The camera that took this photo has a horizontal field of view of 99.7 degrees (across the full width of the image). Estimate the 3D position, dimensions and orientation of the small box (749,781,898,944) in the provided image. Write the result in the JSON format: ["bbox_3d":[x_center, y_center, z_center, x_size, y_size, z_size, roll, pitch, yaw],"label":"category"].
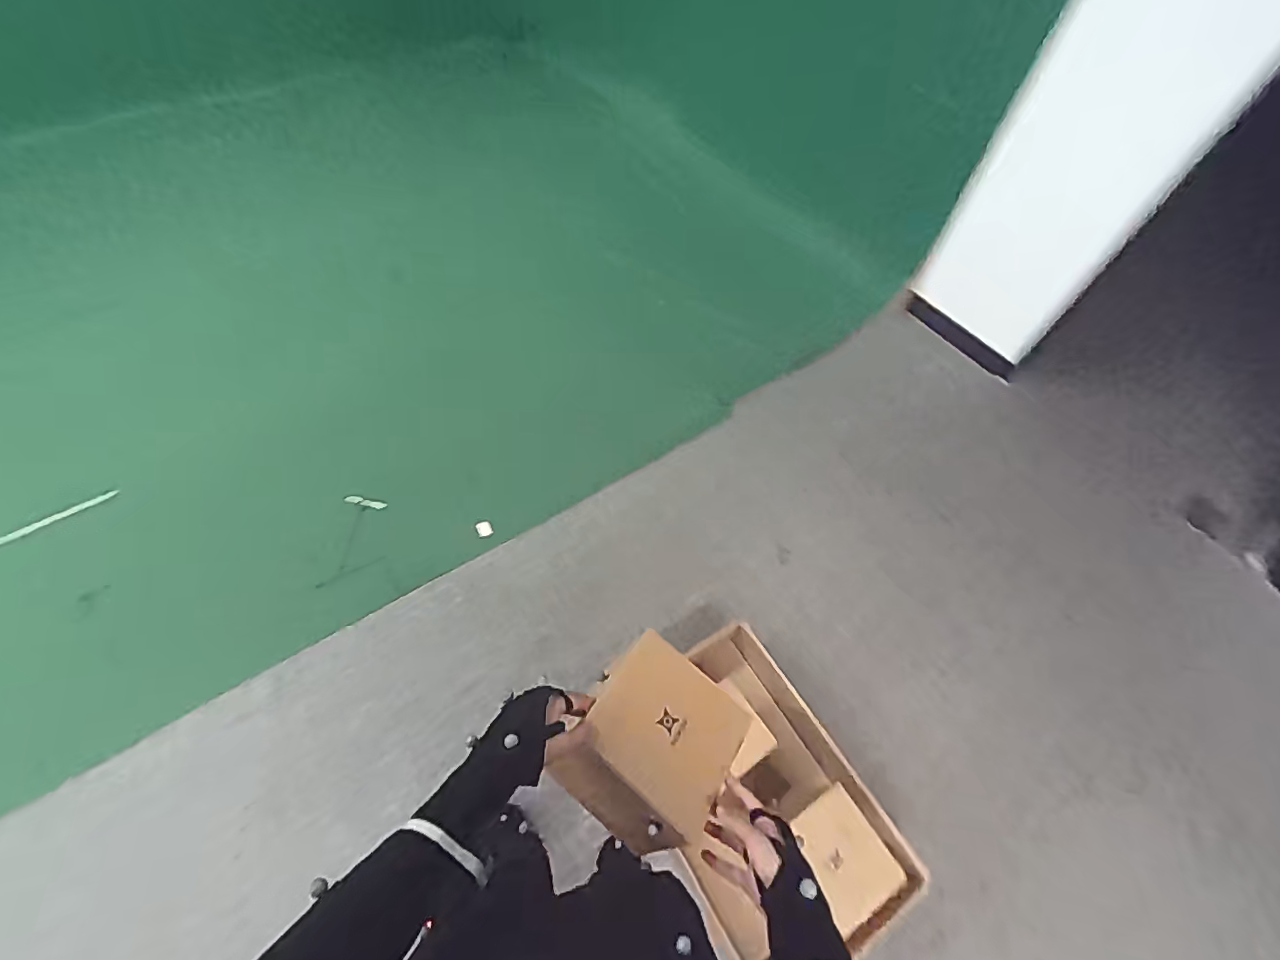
[{"bbox_3d":[0.312,0.672,0.967,0.179,0.176,0.168,-26,63,-17],"label":"small box"}]

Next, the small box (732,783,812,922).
[{"bbox_3d":[0.310,0.752,1.109,0.179,0.176,0.168,-27,62,-16],"label":"small box"}]

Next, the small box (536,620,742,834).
[{"bbox_3d":[-0.008,0.321,0.695,0.179,0.176,0.168,39,47,5],"label":"small box"}]
